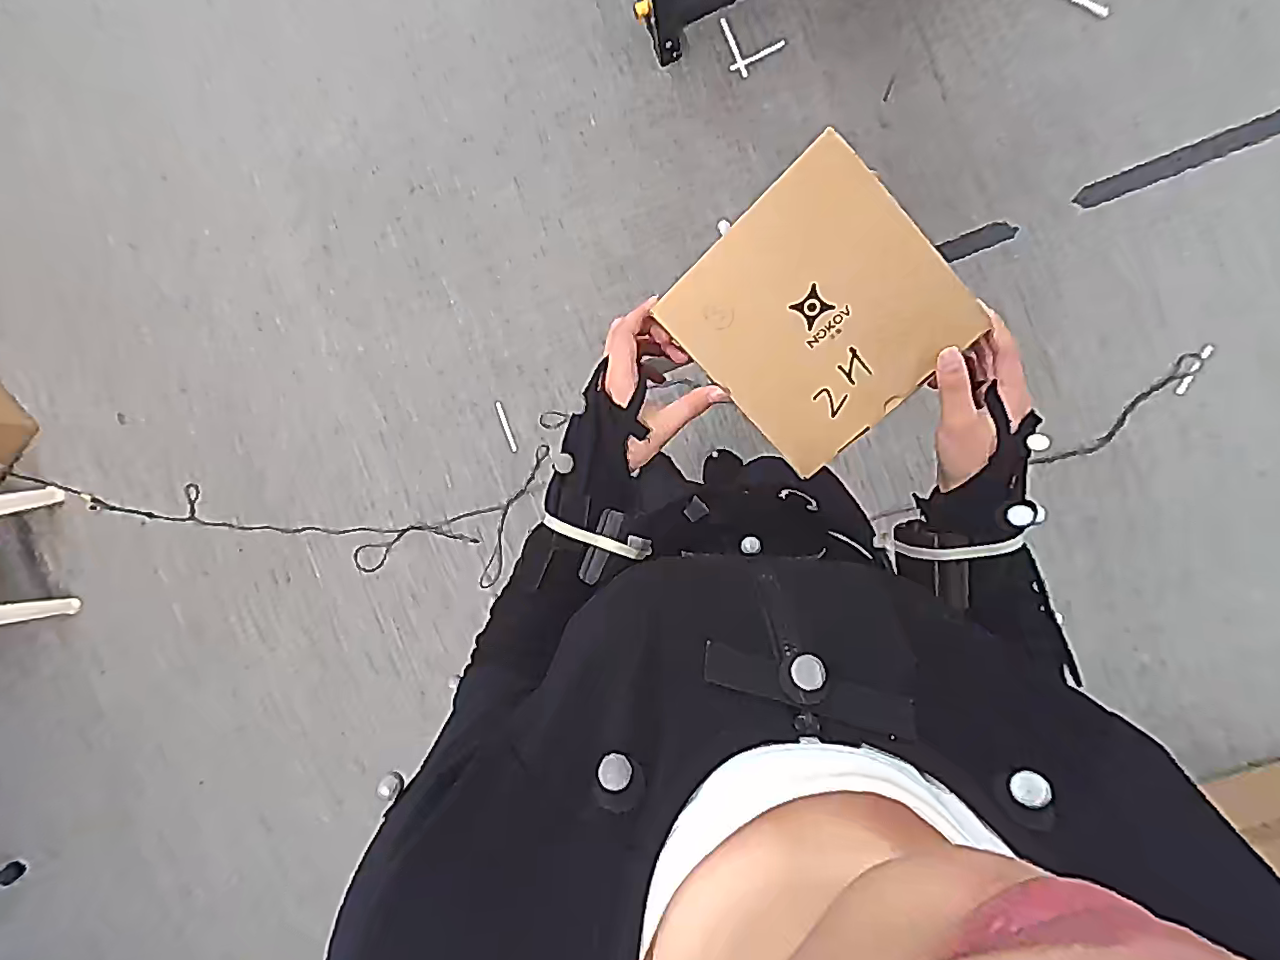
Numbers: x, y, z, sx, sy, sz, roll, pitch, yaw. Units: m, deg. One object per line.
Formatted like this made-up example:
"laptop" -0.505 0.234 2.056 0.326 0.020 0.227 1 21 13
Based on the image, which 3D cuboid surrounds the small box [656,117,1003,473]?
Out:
"small box" 0.133 -0.137 0.444 0.168 0.176 0.179 -42 98 16
